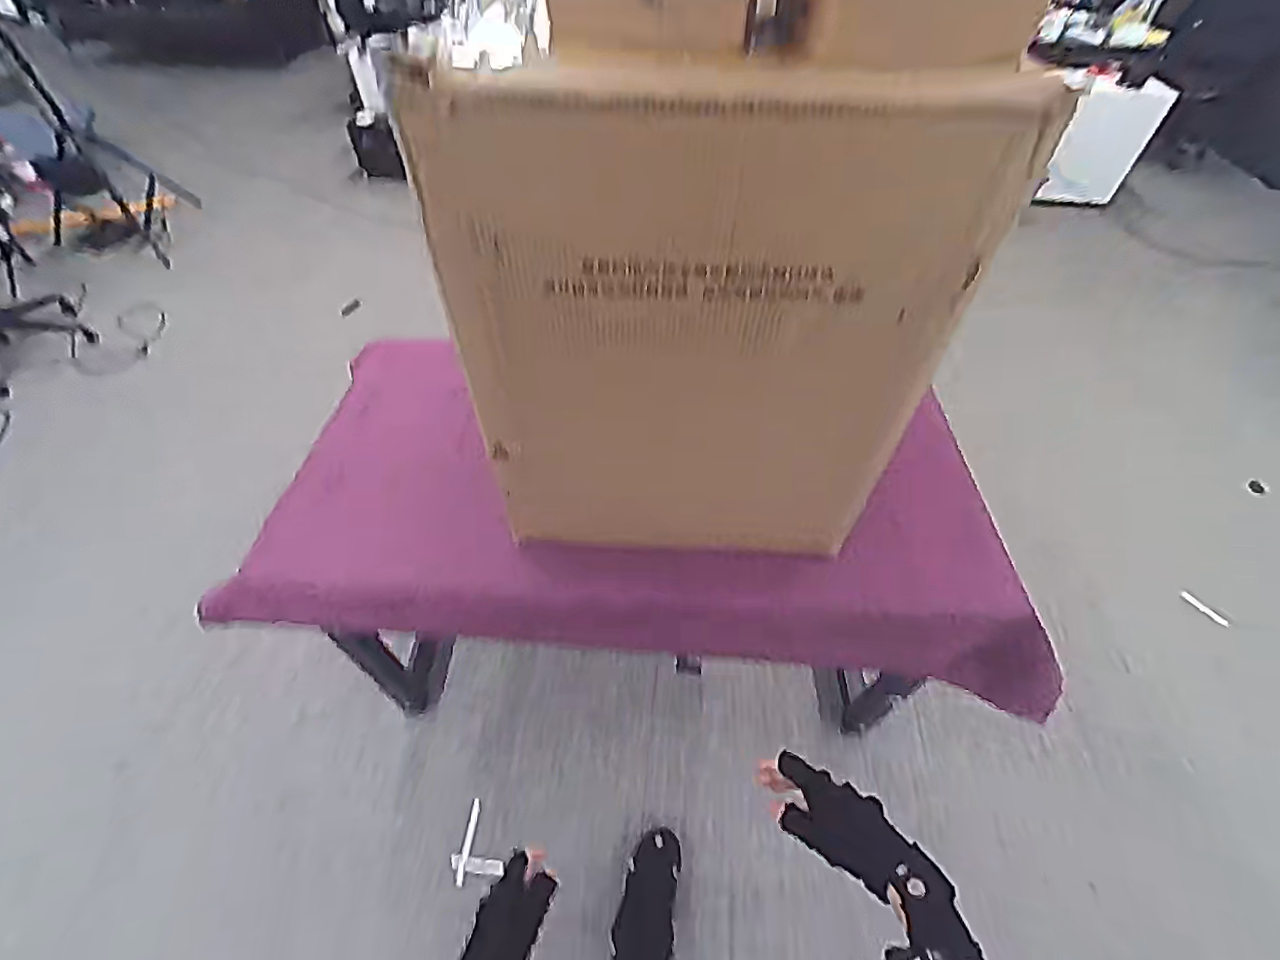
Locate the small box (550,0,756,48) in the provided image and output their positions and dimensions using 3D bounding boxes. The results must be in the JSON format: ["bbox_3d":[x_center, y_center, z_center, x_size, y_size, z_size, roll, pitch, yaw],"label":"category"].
[{"bbox_3d":[0.023,-0.497,0.464,0.179,0.176,0.168,11,51,6],"label":"small box"}]
